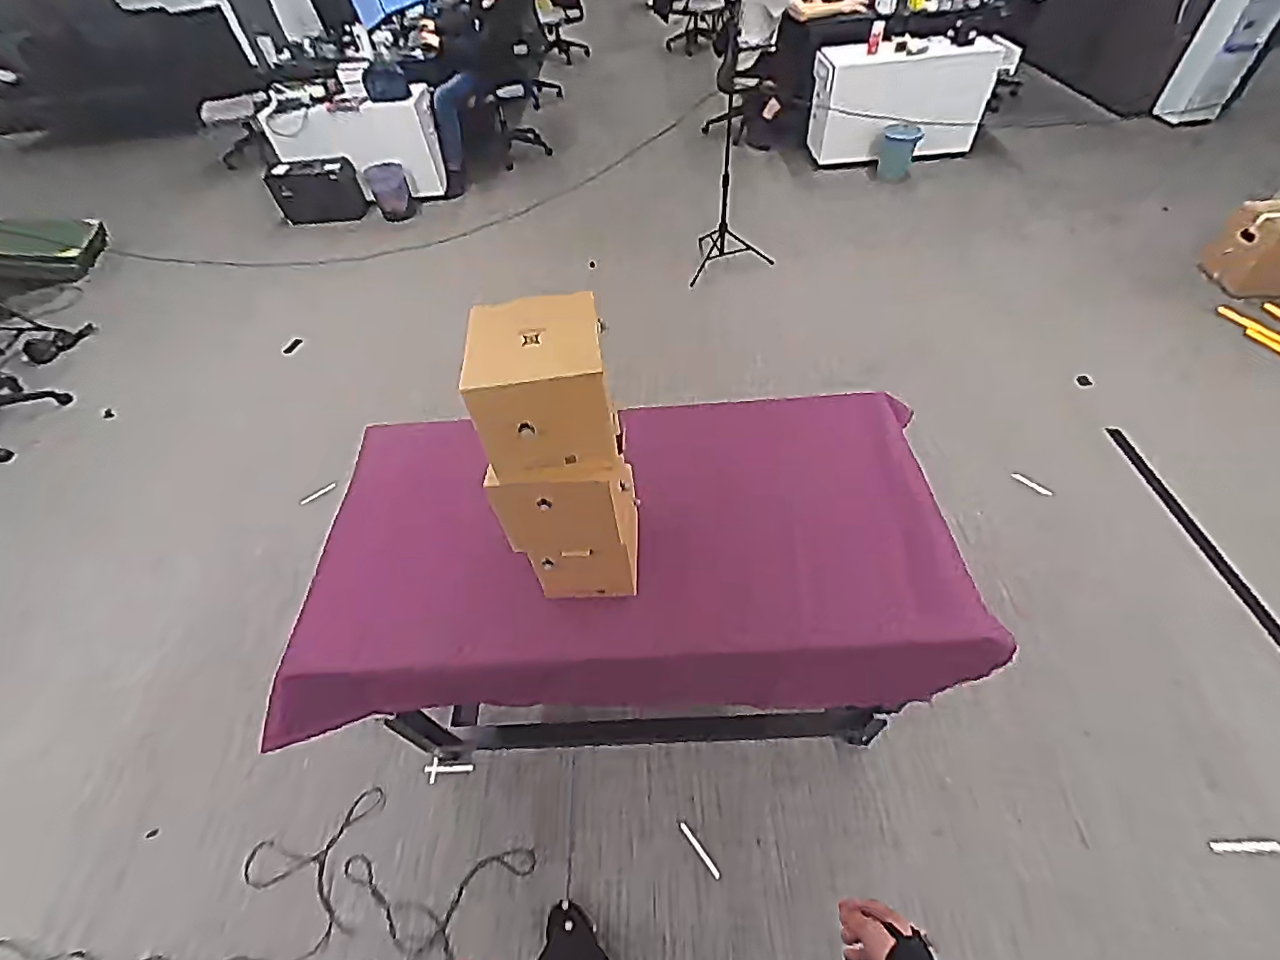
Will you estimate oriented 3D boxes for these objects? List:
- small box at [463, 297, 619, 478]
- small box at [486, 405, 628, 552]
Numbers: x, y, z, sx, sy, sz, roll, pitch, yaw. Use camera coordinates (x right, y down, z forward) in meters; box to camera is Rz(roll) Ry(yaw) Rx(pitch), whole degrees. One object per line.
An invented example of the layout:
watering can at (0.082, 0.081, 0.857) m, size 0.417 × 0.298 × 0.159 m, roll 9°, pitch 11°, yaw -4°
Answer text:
small box at (-0.123, -0.117, 0.729) m, size 0.168 × 0.176 × 0.179 m, roll -8°, pitch 48°, yaw -1°
small box at (-0.116, 0.001, 0.841) m, size 0.179 × 0.176 × 0.168 m, roll -1°, pitch 50°, yaw 4°
